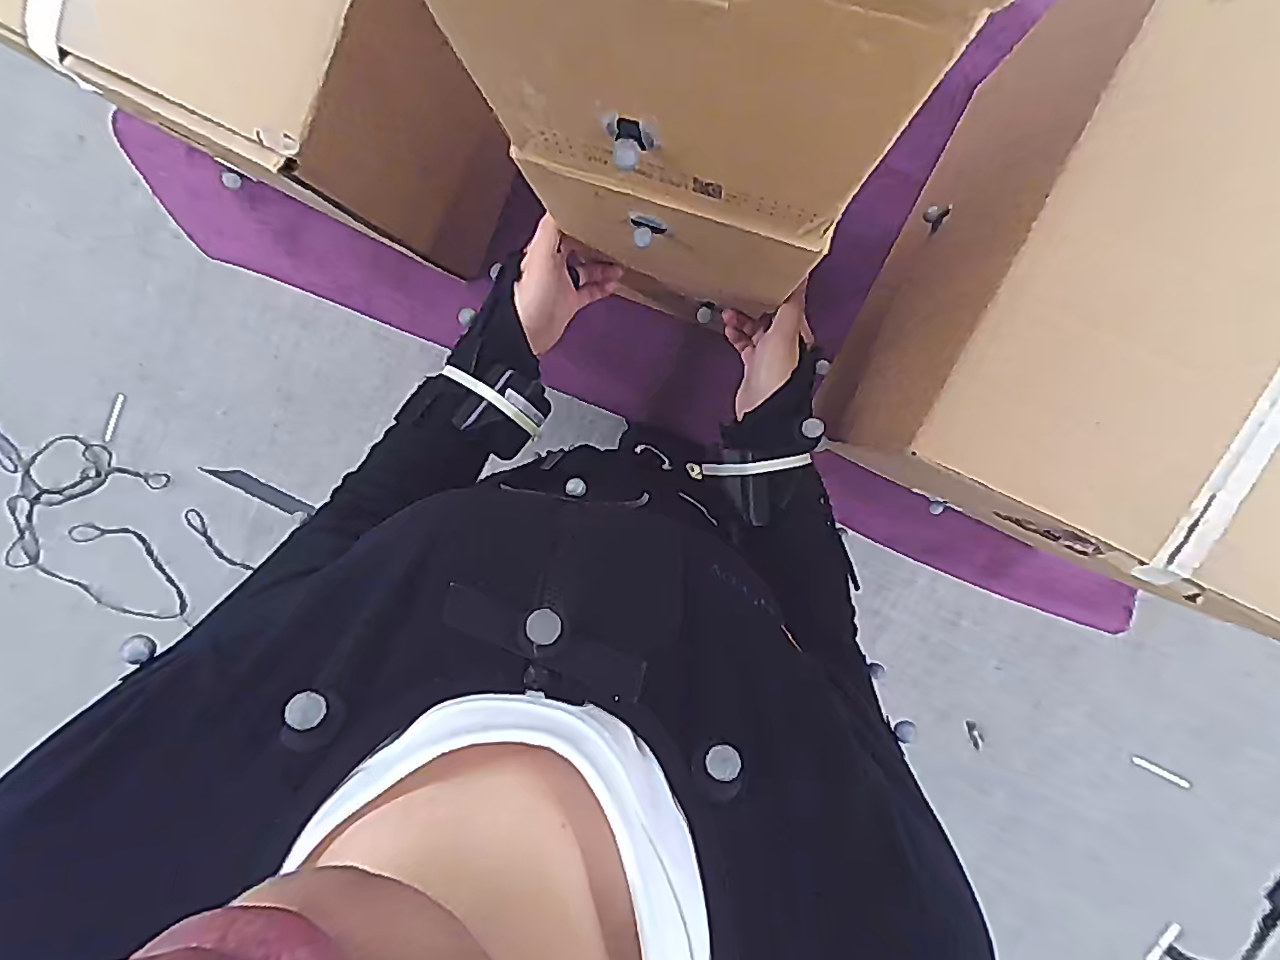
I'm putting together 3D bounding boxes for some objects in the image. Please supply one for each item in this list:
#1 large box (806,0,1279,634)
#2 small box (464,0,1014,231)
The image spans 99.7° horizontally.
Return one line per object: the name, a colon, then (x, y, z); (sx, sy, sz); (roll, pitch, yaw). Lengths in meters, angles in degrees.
large box: (0.384, -0.143, 0.429); (0.320, 0.320, 0.408); (25, 97, 0)
small box: (0.035, -0.216, 0.180); (0.168, 0.176, 0.179); (18, 98, 3)
